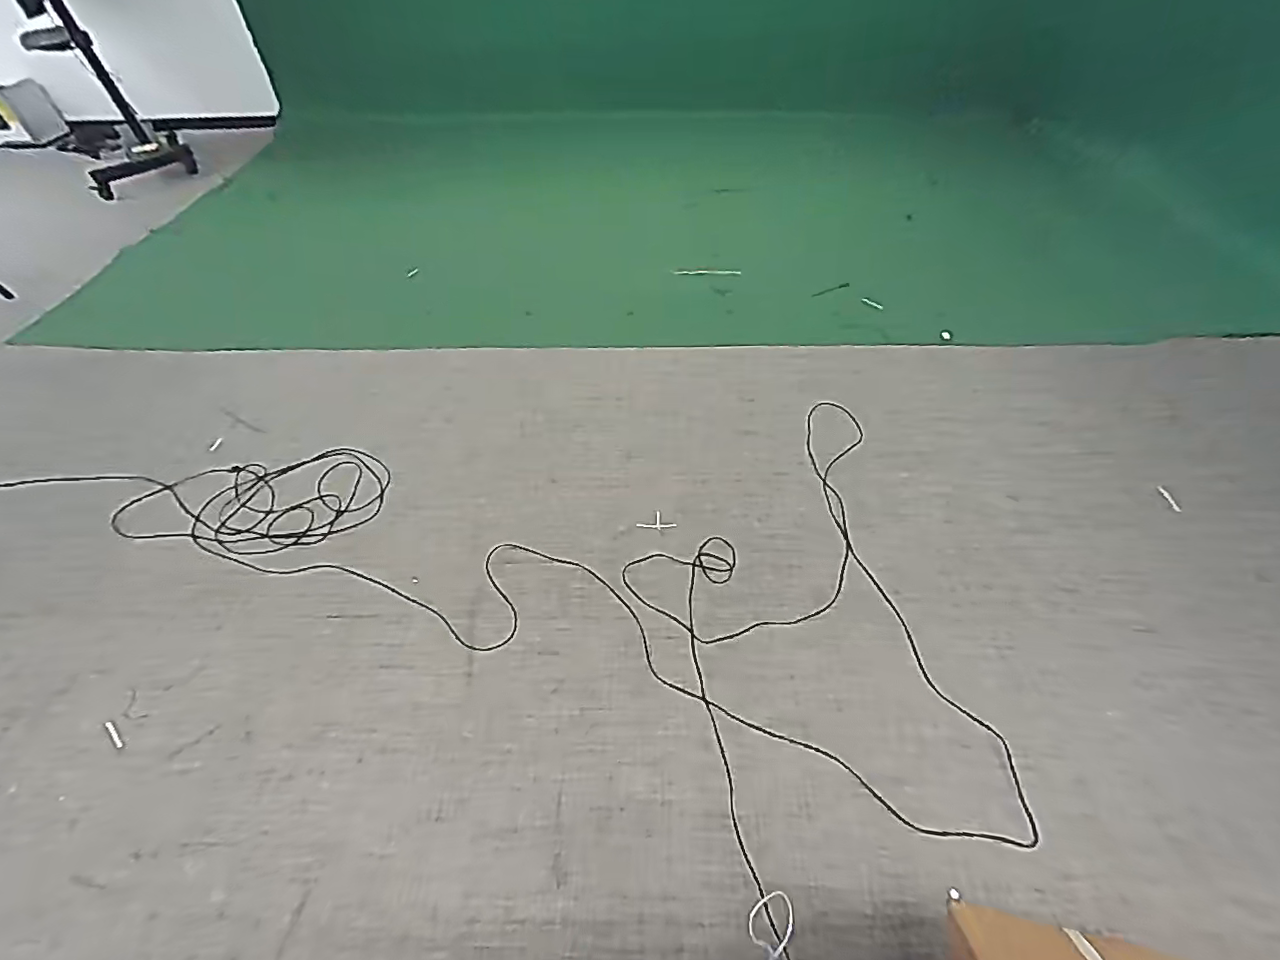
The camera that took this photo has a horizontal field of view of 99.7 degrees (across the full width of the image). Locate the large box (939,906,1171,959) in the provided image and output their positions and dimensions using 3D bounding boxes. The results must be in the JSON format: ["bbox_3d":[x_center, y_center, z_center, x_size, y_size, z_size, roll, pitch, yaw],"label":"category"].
[{"bbox_3d":[0.543,0.780,0.570,0.320,0.408,0.320,7,86,12],"label":"large box"}]
